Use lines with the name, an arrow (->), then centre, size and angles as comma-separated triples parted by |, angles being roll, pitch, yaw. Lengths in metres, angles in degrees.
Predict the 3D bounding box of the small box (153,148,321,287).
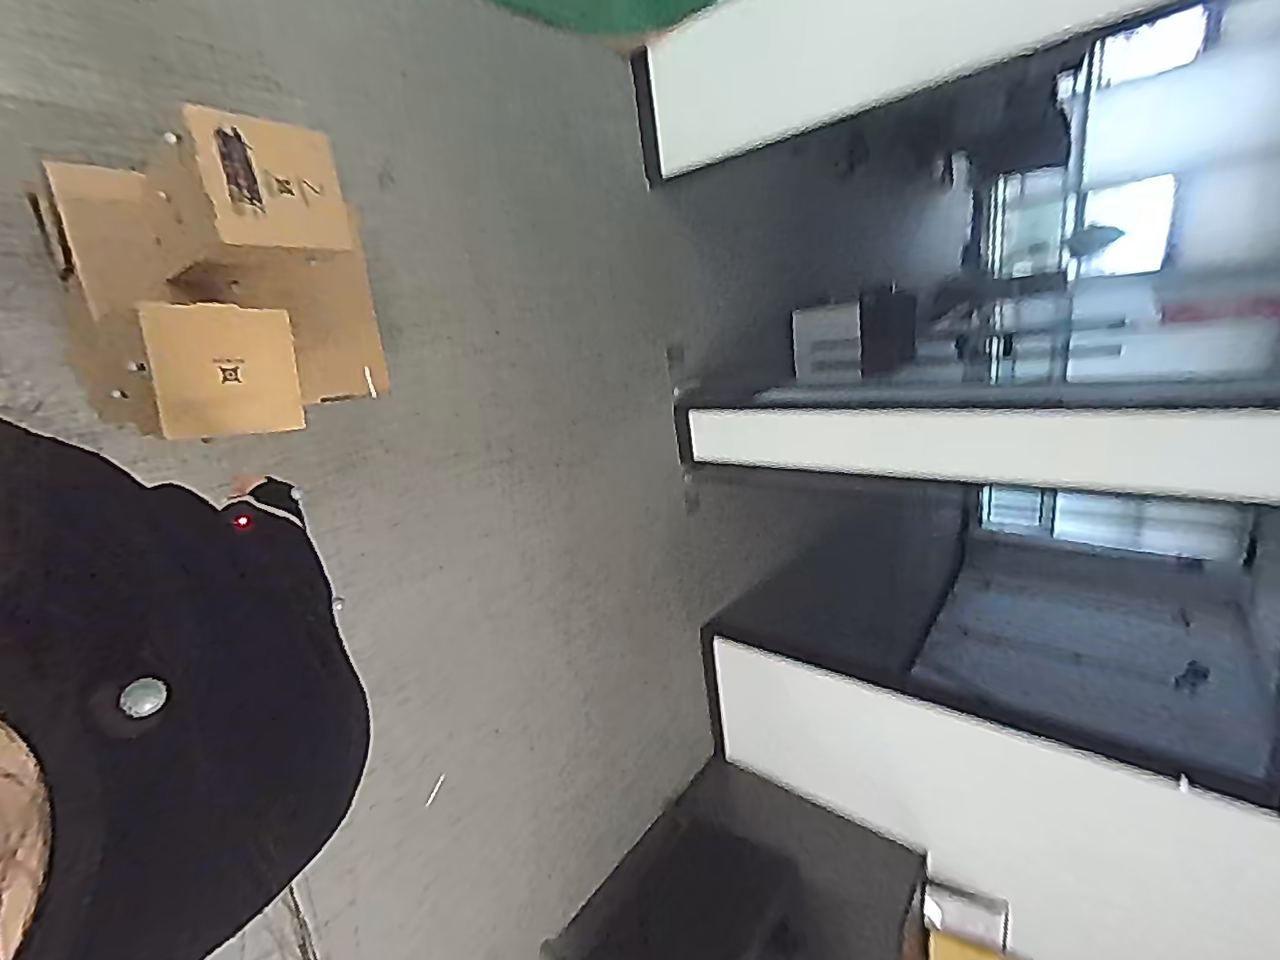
small box -> -0.681, -0.429, 0.918 | 0.179, 0.176, 0.168 | -17, 107, -49

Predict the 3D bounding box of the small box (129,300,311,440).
small box -> -0.609, -0.159, 0.787 | 0.168, 0.176, 0.179 | -15, 108, -49

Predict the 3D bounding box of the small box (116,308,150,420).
small box -> -0.729, -0.186, 0.894 | 0.179, 0.176, 0.168 | -16, 109, -49
